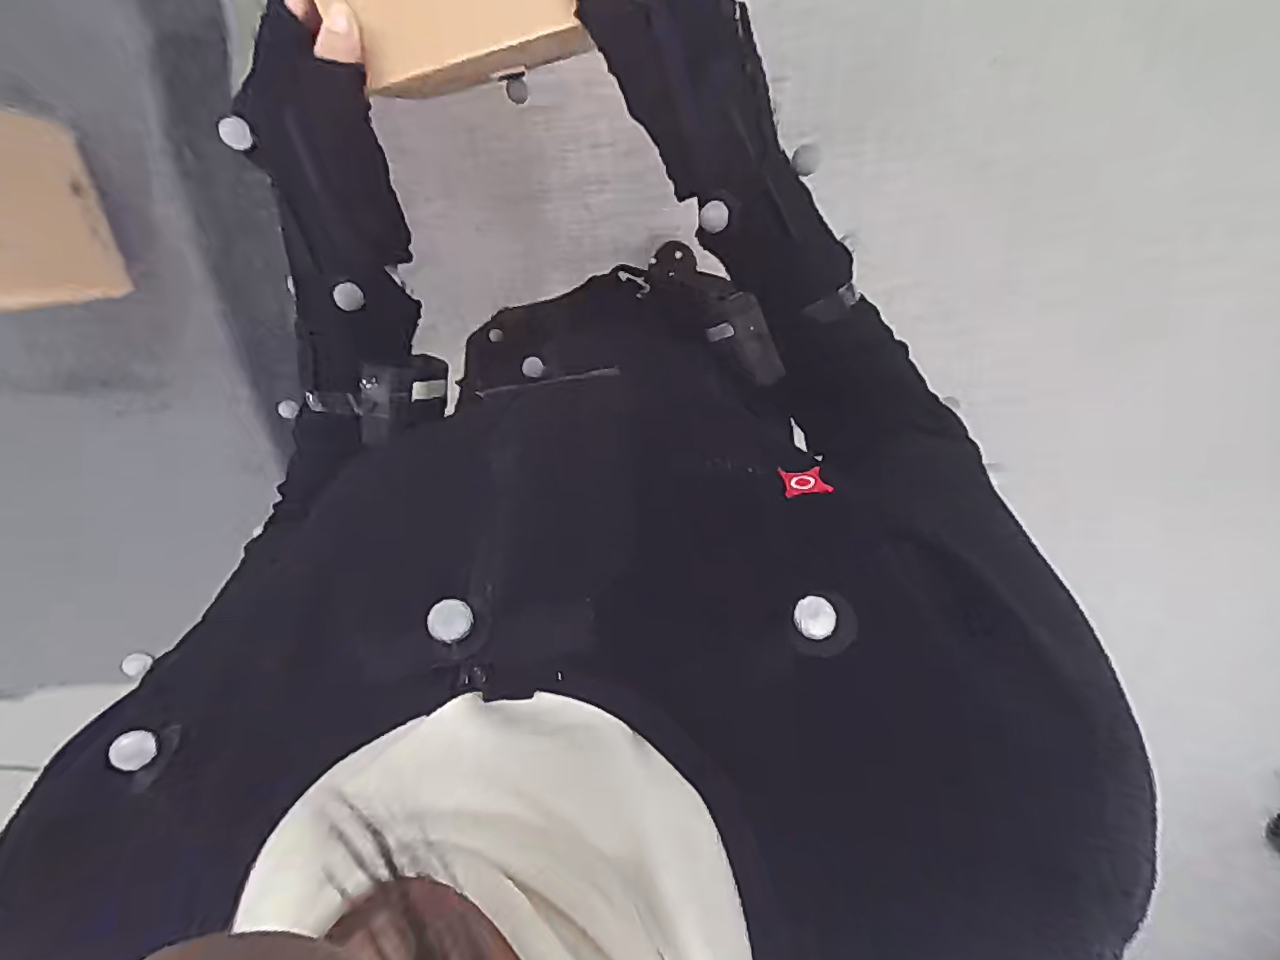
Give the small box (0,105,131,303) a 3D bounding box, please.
[{"bbox_3d":[-0.668,-0.260,0.519,0.179,0.176,0.168,-6,111,4],"label":"small box"}]
